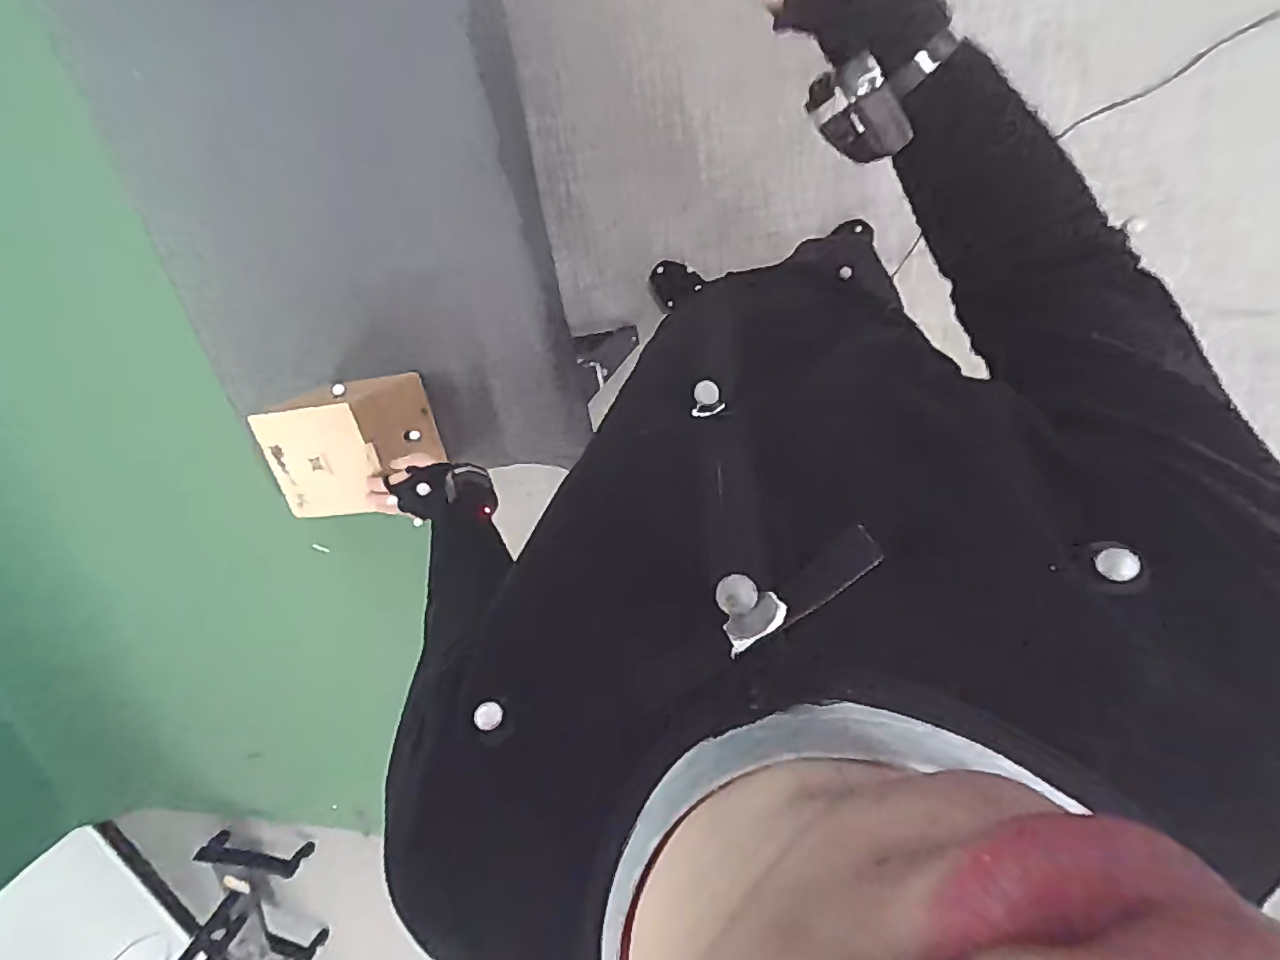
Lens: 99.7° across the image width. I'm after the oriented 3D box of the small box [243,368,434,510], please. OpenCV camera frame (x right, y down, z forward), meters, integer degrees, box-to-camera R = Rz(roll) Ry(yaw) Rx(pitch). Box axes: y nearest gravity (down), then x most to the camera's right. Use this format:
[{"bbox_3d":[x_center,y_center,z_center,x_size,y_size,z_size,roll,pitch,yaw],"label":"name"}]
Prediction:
[{"bbox_3d":[-0.444,-0.069,0.835,0.179,0.176,0.168,-5,113,13],"label":"small box"}]
